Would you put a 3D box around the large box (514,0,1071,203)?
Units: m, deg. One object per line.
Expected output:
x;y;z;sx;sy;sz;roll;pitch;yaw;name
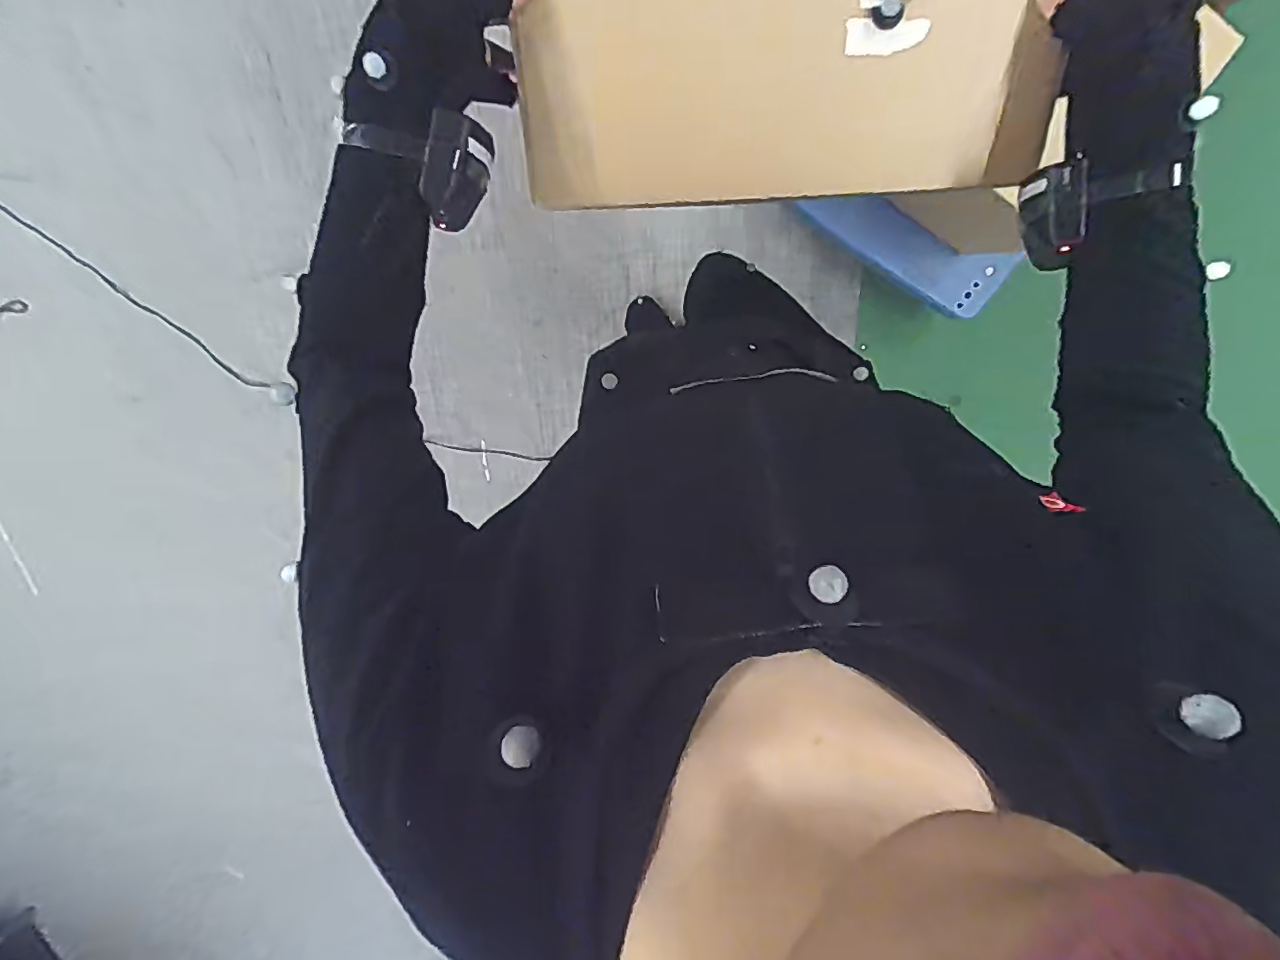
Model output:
0.104;-0.445;0.499;0.408;0.320;0.320;-2;116;1;large box
